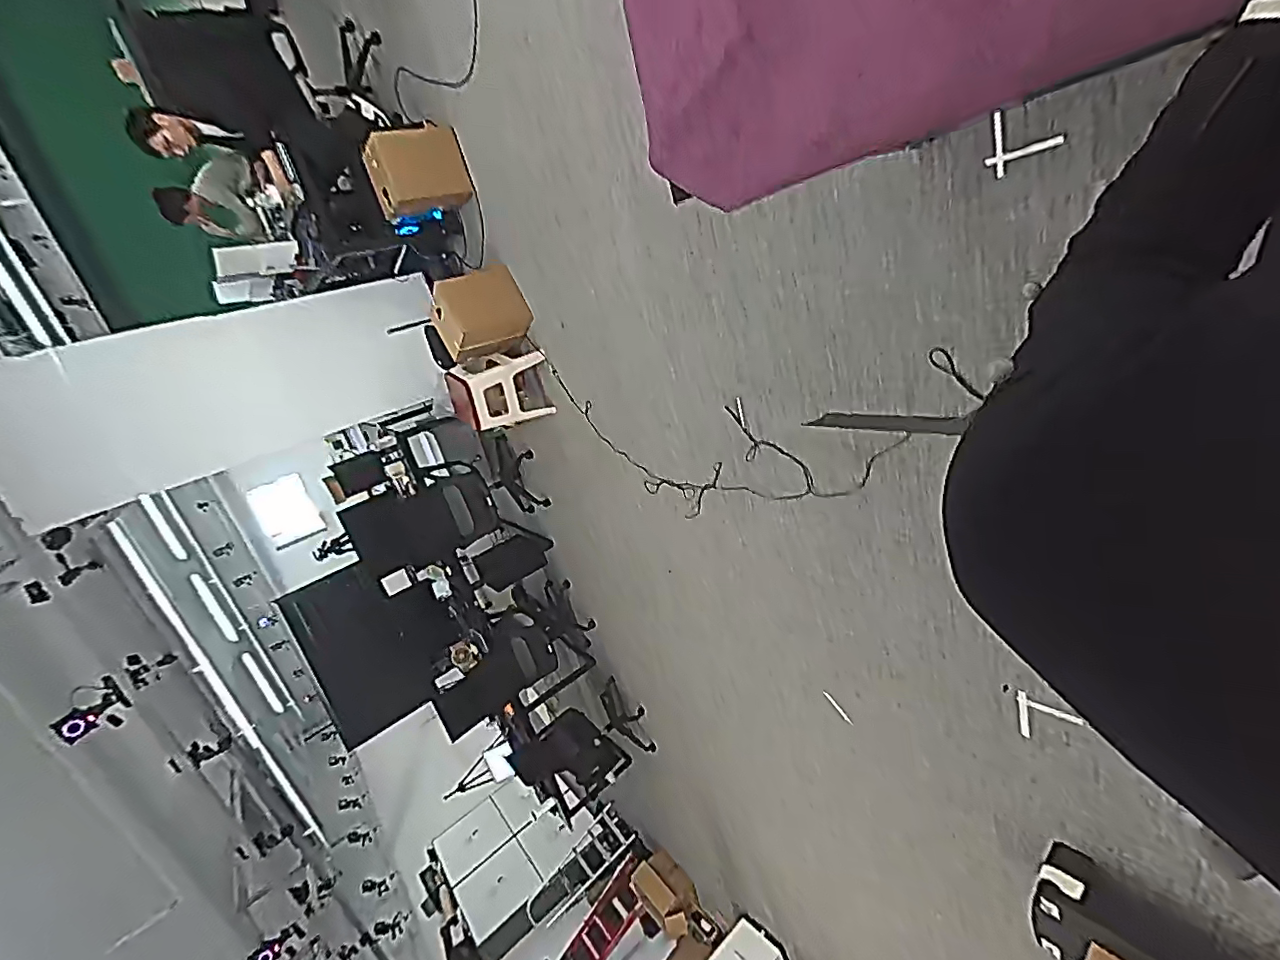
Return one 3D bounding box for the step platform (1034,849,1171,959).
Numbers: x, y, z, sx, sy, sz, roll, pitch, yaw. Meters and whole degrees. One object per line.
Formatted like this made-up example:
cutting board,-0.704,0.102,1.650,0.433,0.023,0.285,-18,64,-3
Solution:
step platform,1.489,1.365,1.462,0.684,0.204,0.286,10,123,52
